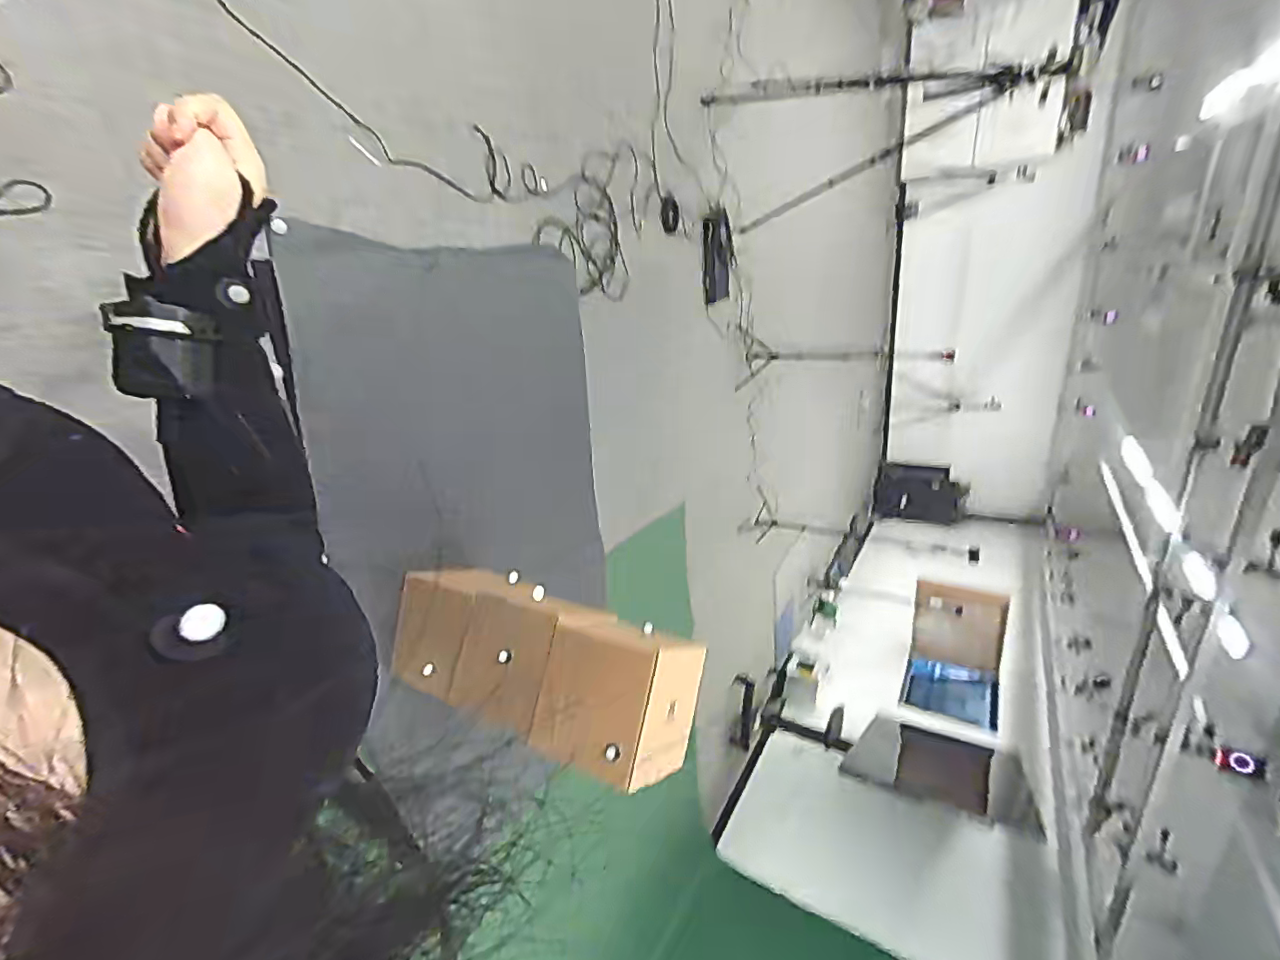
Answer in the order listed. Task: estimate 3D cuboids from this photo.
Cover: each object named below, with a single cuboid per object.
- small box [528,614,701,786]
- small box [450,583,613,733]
[{"bbox_3d":[-0.034,0.294,0.767,0.168,0.176,0.179,26,75,-58],"label":"small box"},{"bbox_3d":[-0.171,0.271,0.852,0.168,0.176,0.179,27,73,-58],"label":"small box"}]
